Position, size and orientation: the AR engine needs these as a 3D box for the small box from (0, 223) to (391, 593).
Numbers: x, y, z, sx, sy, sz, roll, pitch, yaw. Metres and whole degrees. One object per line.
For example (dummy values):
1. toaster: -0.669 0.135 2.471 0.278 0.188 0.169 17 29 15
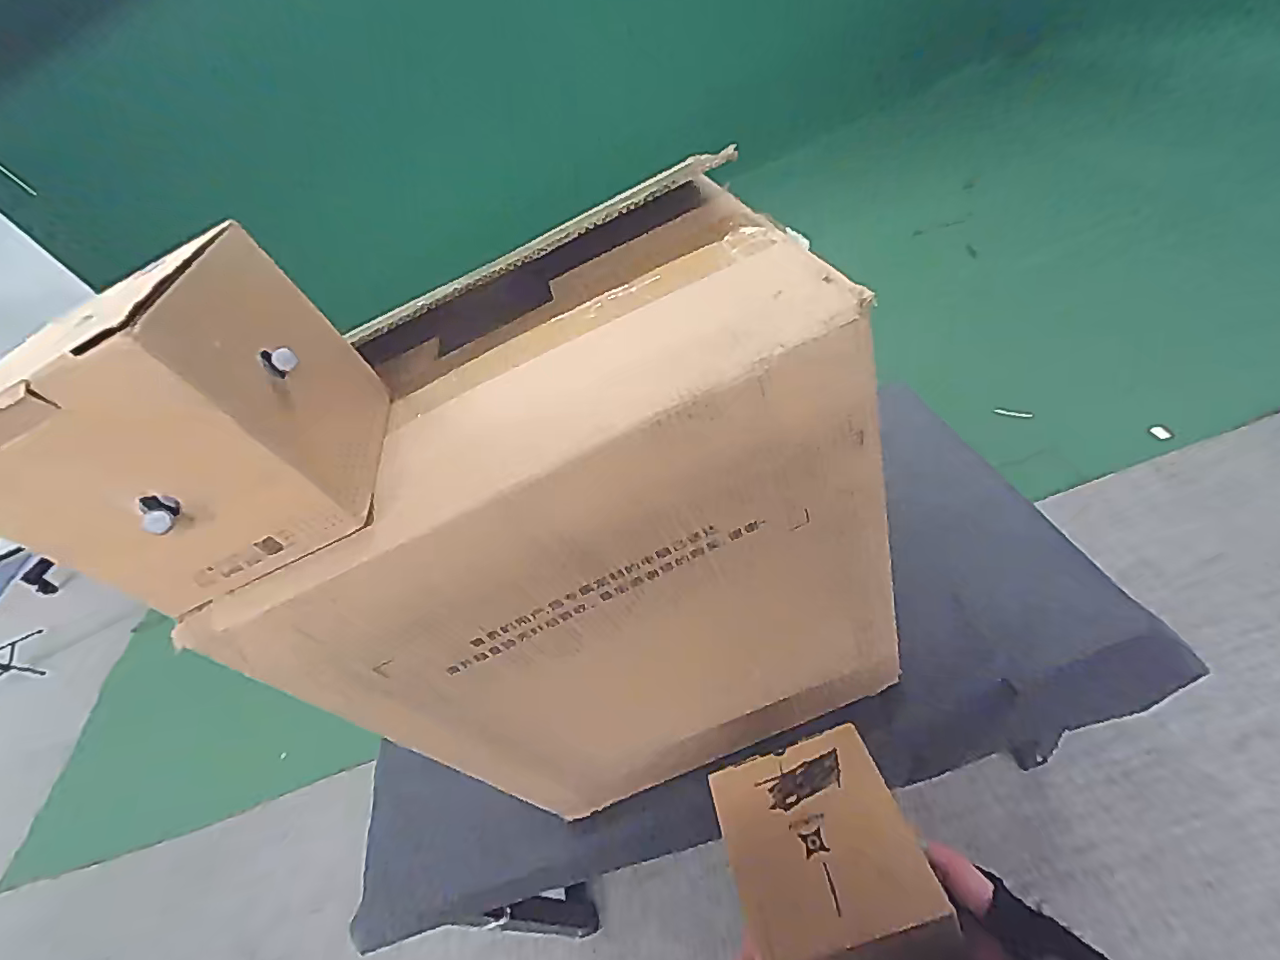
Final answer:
1. small box: -0.306 -0.042 0.386 0.168 0.176 0.179 -24 44 5
